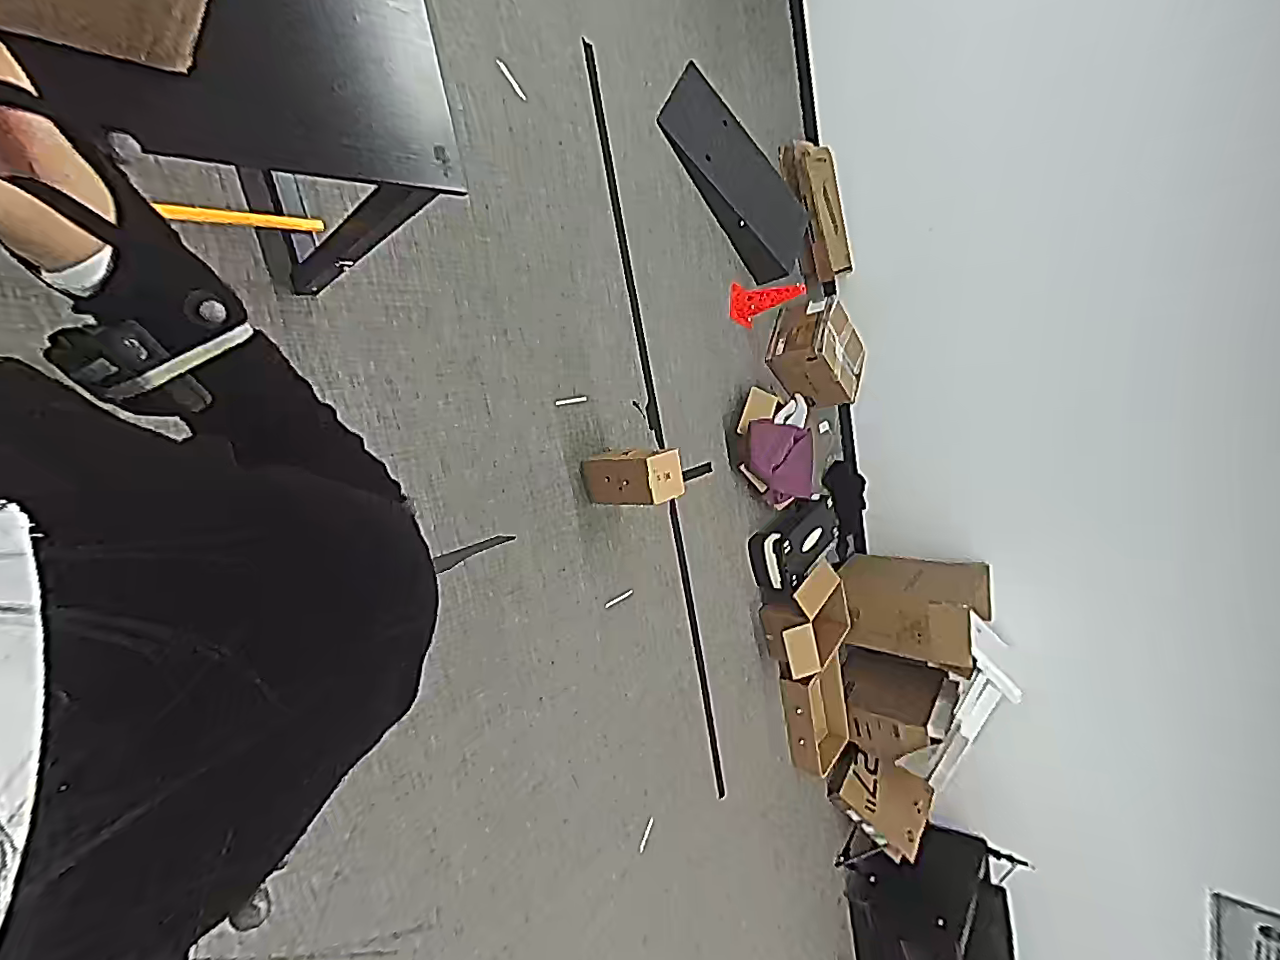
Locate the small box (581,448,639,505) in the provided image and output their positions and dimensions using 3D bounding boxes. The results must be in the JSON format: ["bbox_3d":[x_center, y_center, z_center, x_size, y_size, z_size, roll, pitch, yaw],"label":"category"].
[{"bbox_3d":[-0.100,-0.012,2.027,0.168,0.176,0.179,-24,107,-45],"label":"small box"}]

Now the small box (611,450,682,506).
[{"bbox_3d":[0.022,-0.009,1.916,0.179,0.176,0.168,-19,103,-46],"label":"small box"}]
